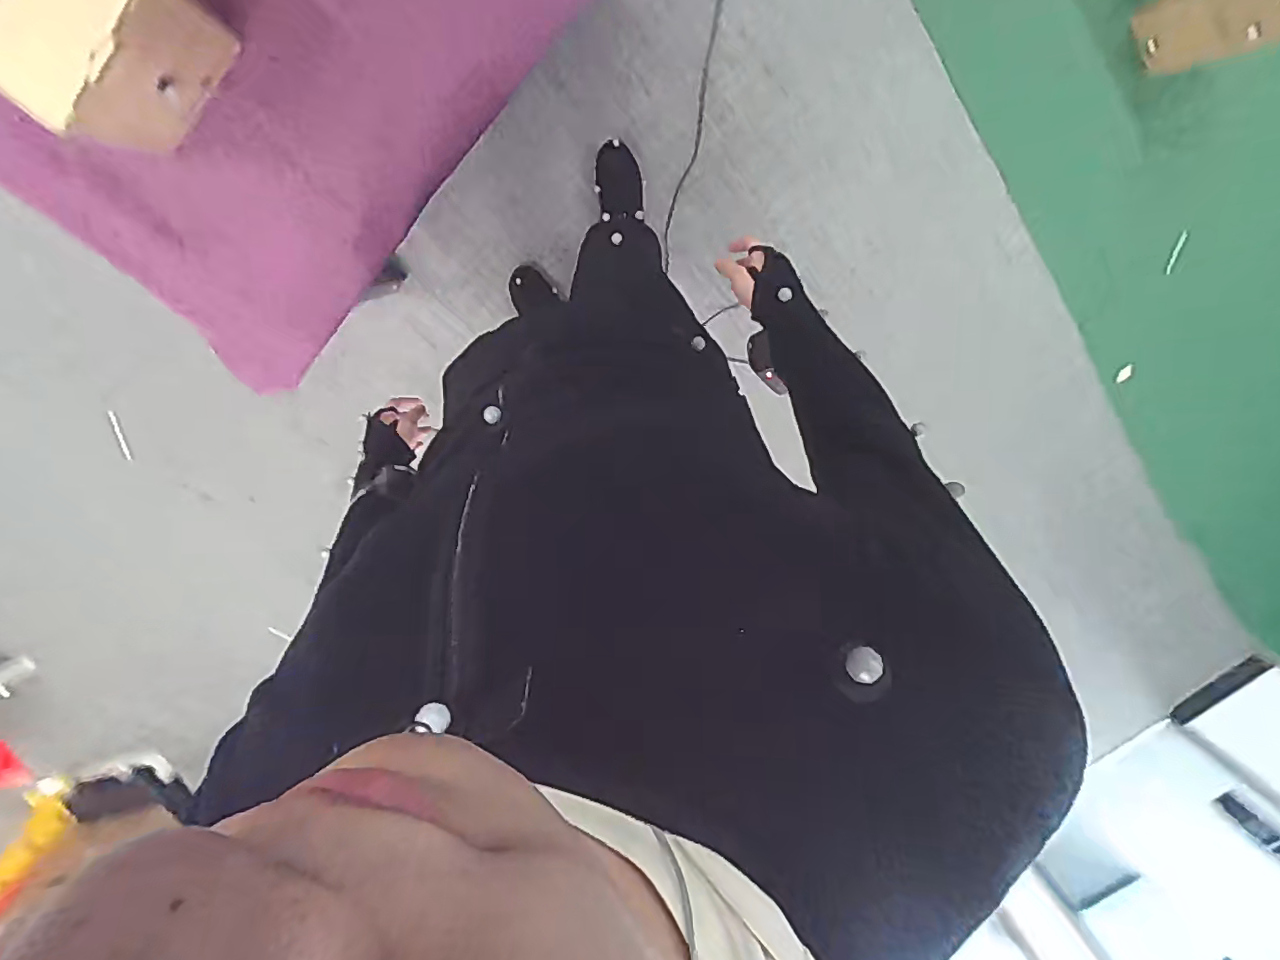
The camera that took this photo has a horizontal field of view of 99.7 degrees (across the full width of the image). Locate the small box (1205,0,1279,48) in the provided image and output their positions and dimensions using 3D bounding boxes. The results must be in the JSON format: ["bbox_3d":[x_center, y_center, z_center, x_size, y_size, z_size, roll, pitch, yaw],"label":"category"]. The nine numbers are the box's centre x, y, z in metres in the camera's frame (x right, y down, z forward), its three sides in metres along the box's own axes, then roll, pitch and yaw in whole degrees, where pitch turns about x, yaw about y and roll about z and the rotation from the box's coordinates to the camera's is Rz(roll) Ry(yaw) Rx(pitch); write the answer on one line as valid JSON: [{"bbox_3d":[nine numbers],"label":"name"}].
[{"bbox_3d":[1.390,-1.094,1.170,0.179,0.176,0.168,-44,113,12],"label":"small box"}]

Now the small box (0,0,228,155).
[{"bbox_3d":[-0.568,-0.456,0.536,0.179,0.176,0.168,40,102,-22],"label":"small box"}]
